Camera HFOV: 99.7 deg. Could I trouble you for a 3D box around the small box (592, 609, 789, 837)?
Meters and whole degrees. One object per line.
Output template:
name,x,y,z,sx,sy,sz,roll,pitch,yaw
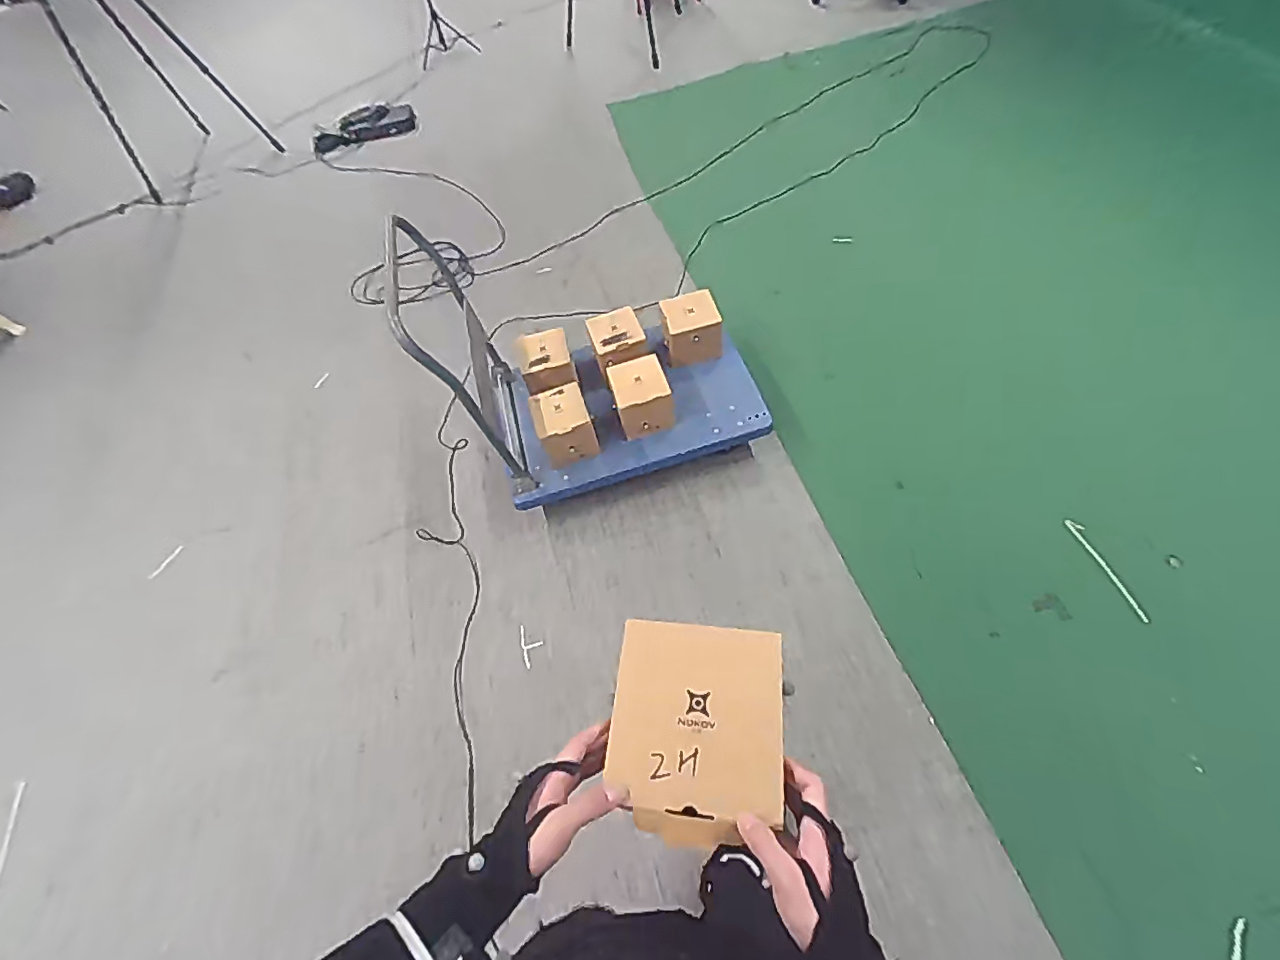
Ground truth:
small box,0.062,0.264,0.588,0.168,0.176,0.179,8,59,14

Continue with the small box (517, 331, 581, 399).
small box,-0.305,-0.370,1.832,0.168,0.176,0.179,-15,57,-1

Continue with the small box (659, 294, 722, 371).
small box,0.175,-0.496,1.839,0.179,0.176,0.168,-15,59,0

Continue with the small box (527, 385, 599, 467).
small box,-0.236,-0.159,1.691,0.168,0.176,0.179,-19,58,-3
